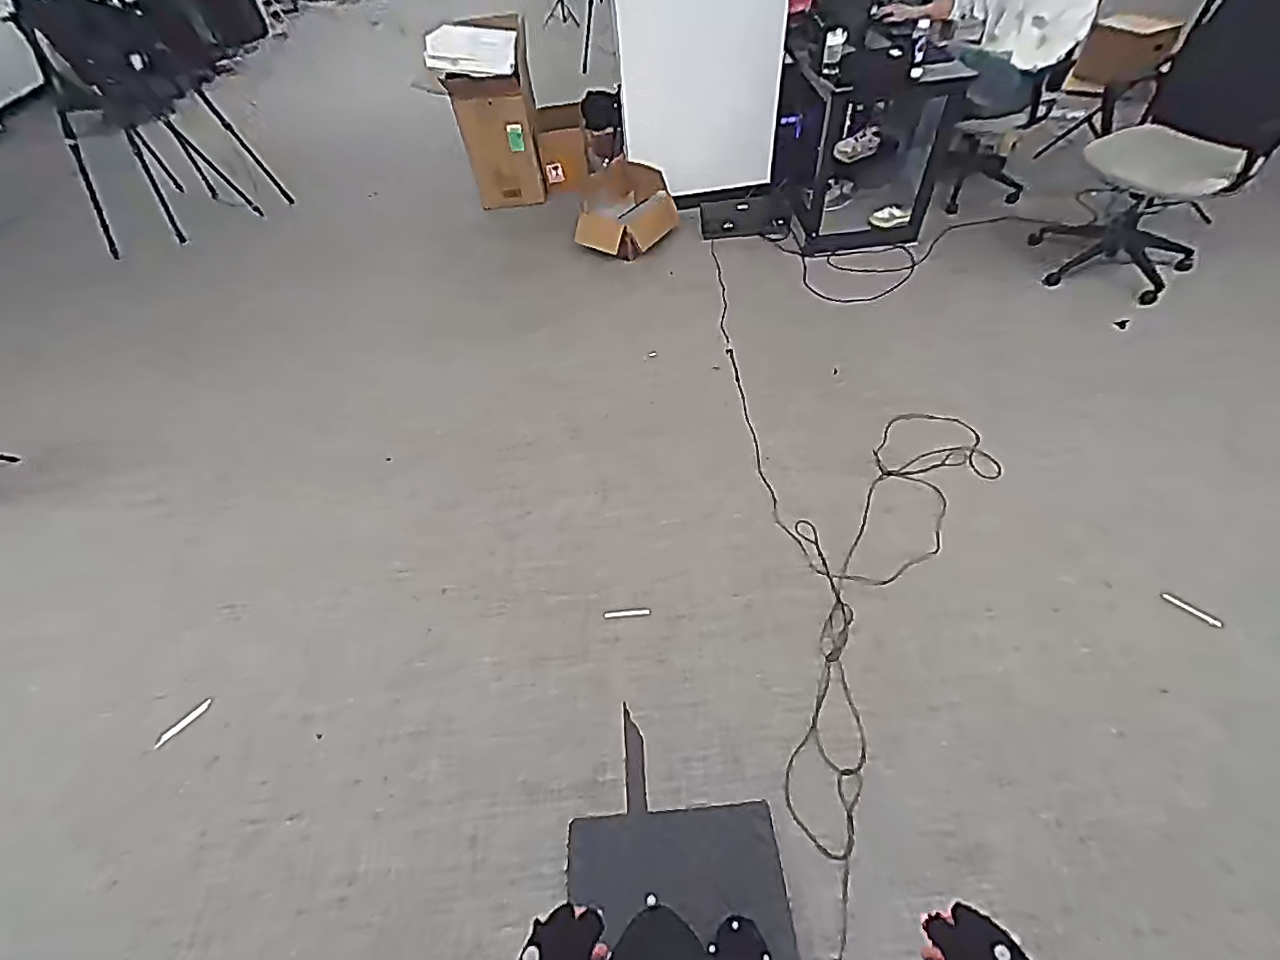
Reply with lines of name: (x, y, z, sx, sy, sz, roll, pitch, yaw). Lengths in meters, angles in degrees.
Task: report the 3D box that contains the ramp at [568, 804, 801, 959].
ramp: (0.101, 1.152, 0.957, 0.509, 0.206, 0.991, -8, 51, 1)
